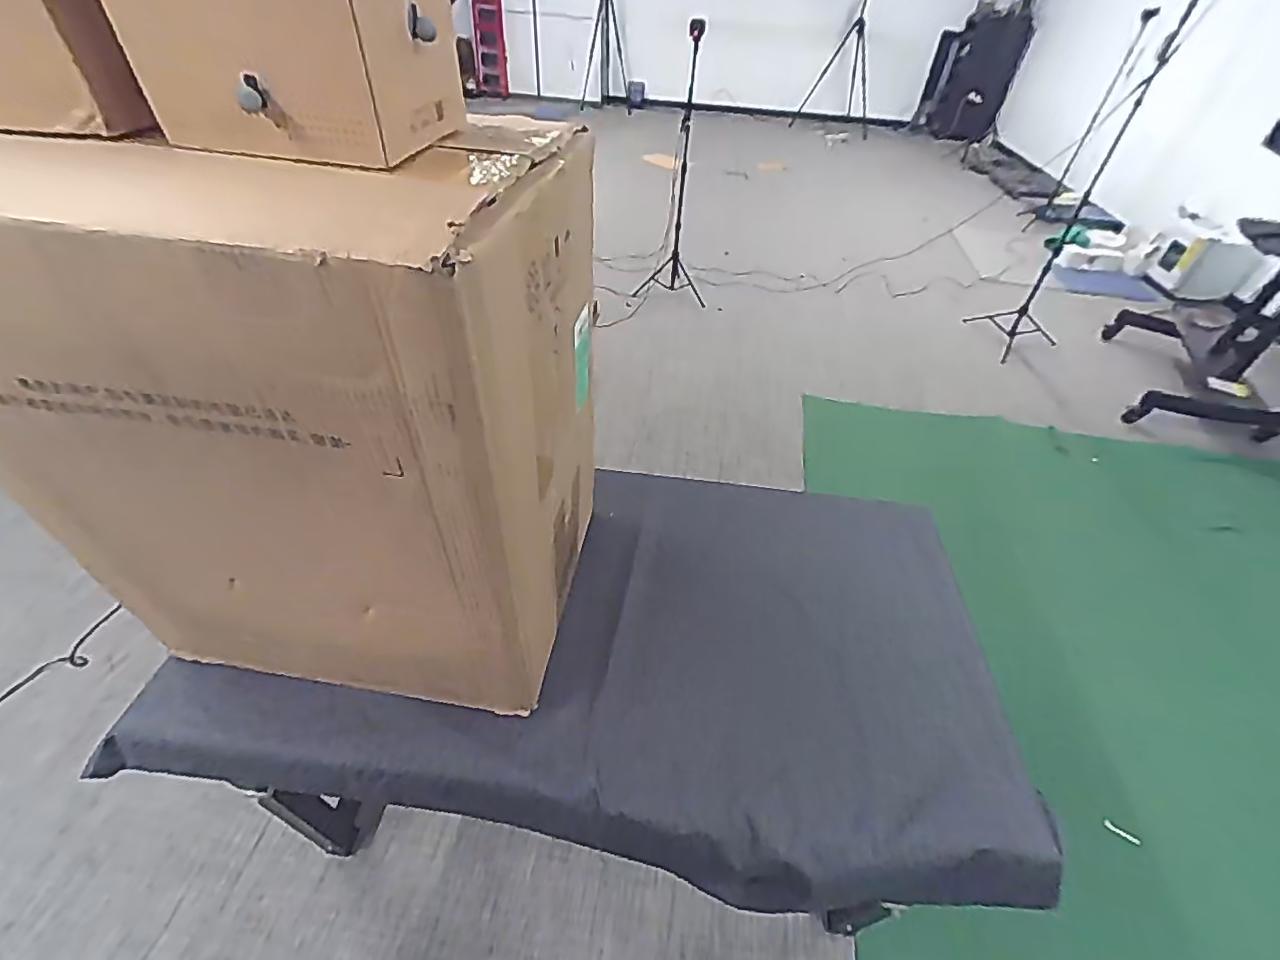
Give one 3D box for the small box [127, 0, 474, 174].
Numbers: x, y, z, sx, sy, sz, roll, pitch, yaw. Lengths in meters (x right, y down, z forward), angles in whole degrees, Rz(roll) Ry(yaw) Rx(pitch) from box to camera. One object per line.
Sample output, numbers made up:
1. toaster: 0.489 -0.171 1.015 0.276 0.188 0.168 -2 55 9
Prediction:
1. small box: -0.245 -0.350 0.415 0.179 0.176 0.168 7 43 3
